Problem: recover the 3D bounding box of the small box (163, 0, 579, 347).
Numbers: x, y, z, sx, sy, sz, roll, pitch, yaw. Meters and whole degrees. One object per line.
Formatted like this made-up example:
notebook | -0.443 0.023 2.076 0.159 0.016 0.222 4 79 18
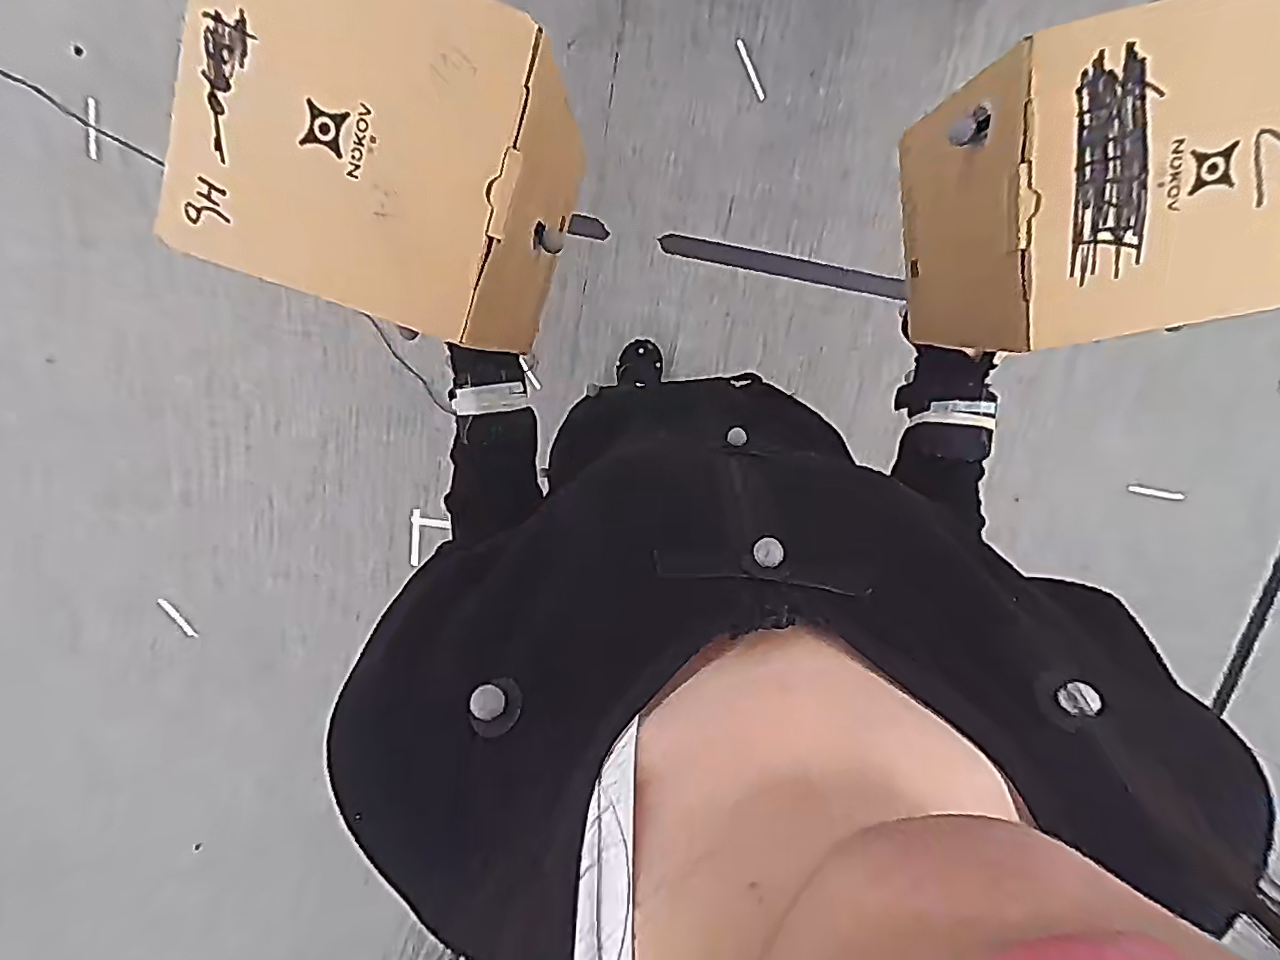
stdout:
small box | -0.149 -0.195 0.358 0.179 0.176 0.168 18 101 -3
